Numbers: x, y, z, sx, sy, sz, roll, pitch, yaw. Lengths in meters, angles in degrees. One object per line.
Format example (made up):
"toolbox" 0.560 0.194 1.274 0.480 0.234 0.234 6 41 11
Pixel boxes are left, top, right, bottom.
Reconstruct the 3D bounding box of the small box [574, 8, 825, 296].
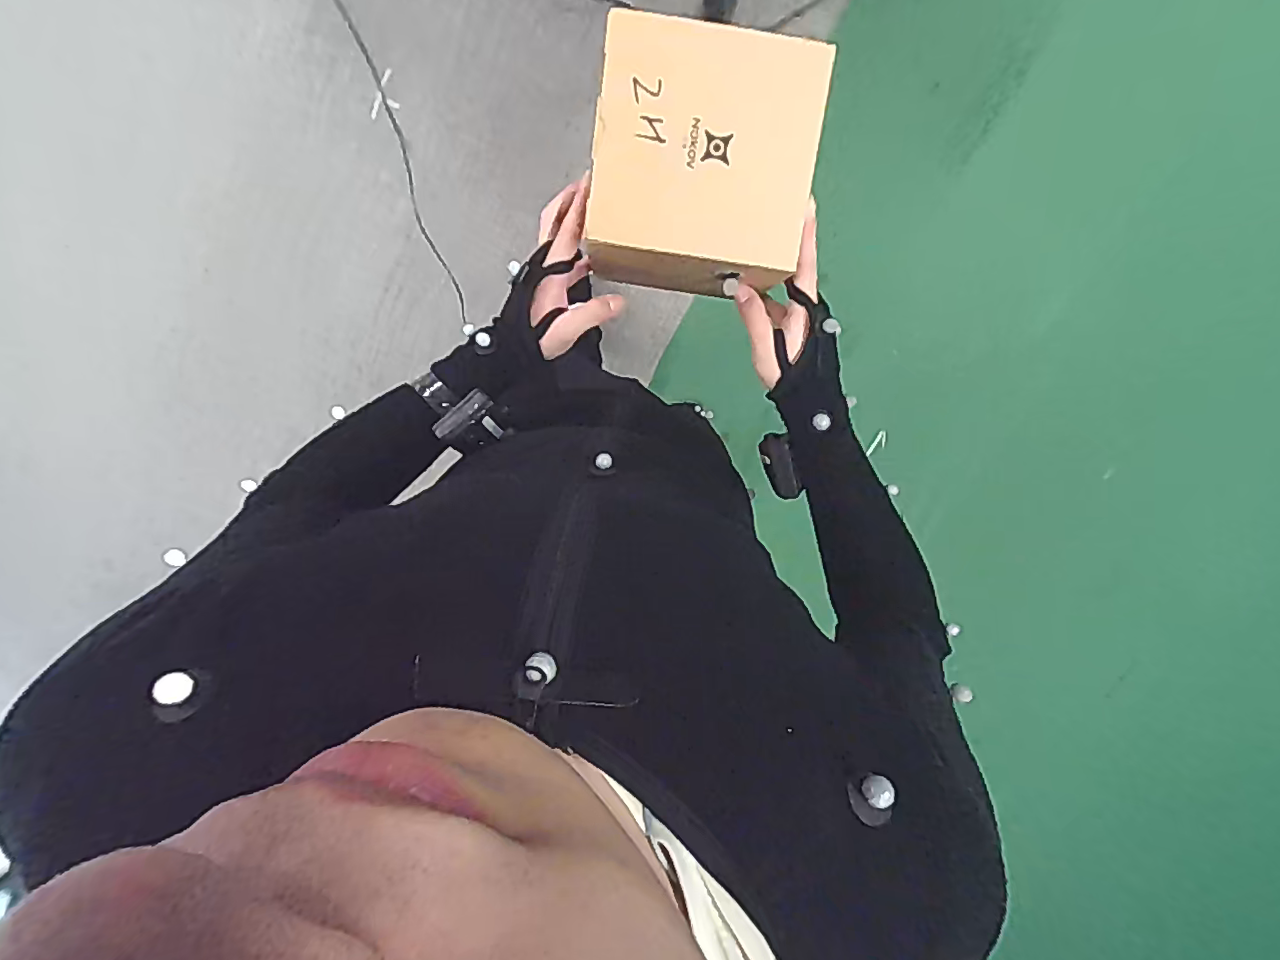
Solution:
"small box" 0.042 -0.273 0.495 0.179 0.176 0.168 7 99 -2
